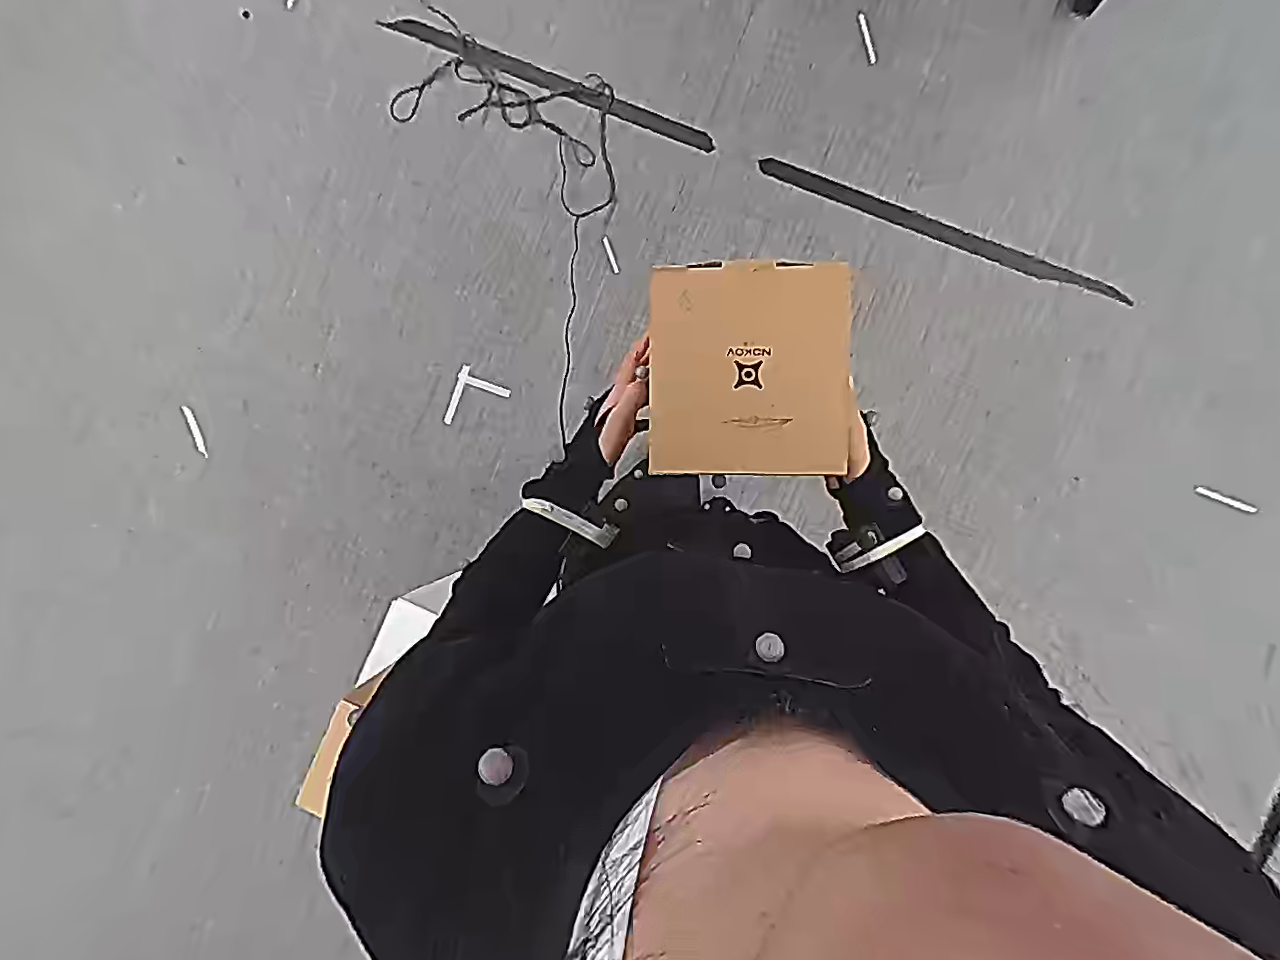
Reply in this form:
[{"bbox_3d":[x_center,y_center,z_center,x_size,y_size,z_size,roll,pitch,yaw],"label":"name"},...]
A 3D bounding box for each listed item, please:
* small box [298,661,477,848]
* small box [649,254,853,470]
[{"bbox_3d":[-0.378,0.412,0.848,0.168,0.176,0.179,25,90,3],"label":"small box"},{"bbox_3d":[0.094,-0.100,0.523,0.168,0.176,0.179,1,93,4],"label":"small box"}]
